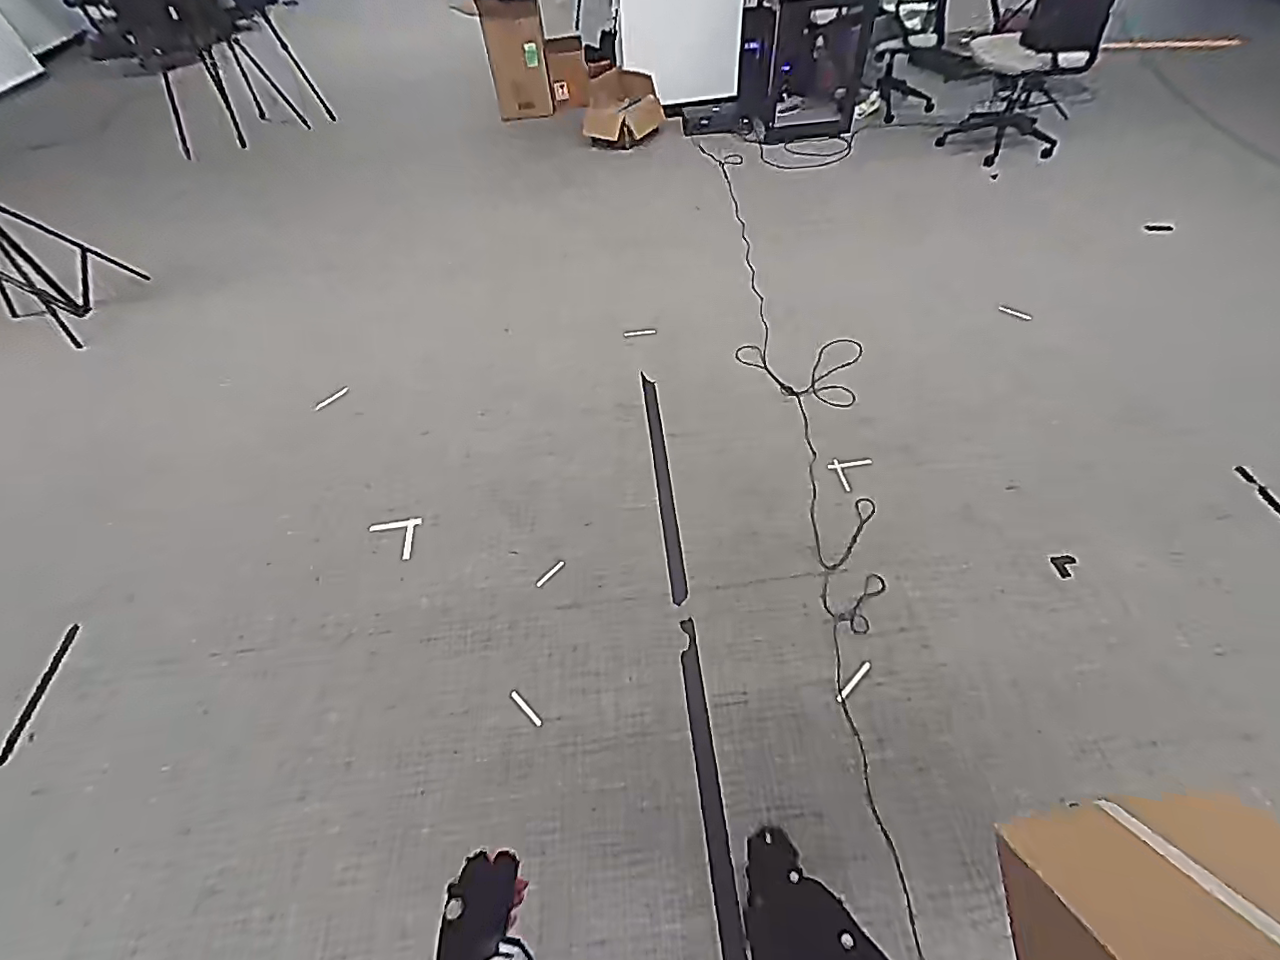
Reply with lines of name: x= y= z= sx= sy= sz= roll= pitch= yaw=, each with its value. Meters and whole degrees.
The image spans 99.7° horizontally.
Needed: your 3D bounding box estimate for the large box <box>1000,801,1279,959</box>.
large box: x=0.667 y=0.618 z=0.558 sx=0.320 sy=0.408 sz=0.320 roll=-10 pitch=92 yaw=2
